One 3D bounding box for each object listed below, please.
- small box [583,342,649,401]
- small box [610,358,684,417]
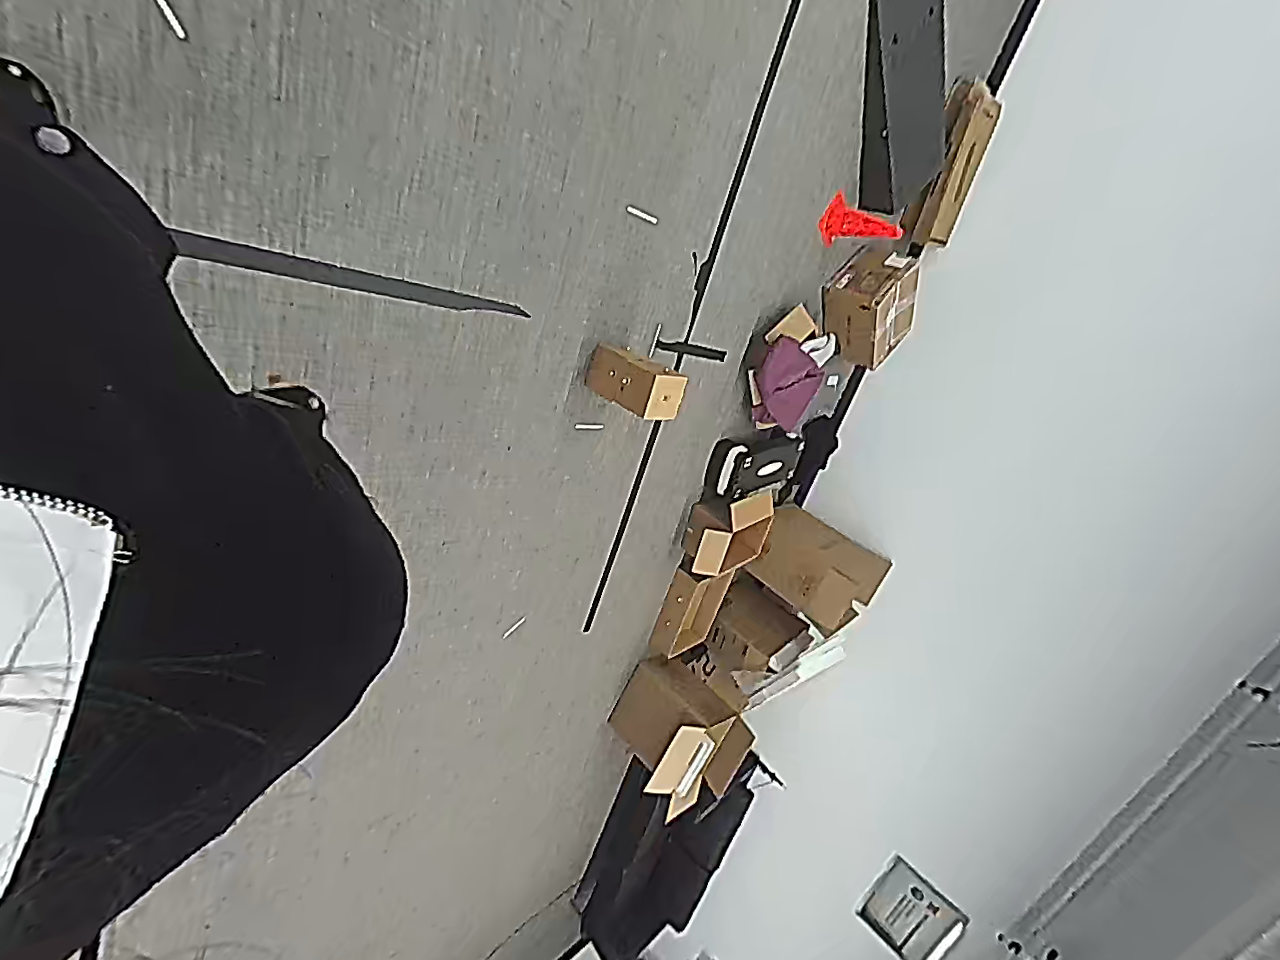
[{"bbox_3d":[-0.090,-0.408,2.051,0.168,0.176,0.179,-2,121,-49],"label":"small box"},{"bbox_3d":[0.022,-0.337,1.958,0.179,0.176,0.168,-8,122,-46],"label":"small box"}]
